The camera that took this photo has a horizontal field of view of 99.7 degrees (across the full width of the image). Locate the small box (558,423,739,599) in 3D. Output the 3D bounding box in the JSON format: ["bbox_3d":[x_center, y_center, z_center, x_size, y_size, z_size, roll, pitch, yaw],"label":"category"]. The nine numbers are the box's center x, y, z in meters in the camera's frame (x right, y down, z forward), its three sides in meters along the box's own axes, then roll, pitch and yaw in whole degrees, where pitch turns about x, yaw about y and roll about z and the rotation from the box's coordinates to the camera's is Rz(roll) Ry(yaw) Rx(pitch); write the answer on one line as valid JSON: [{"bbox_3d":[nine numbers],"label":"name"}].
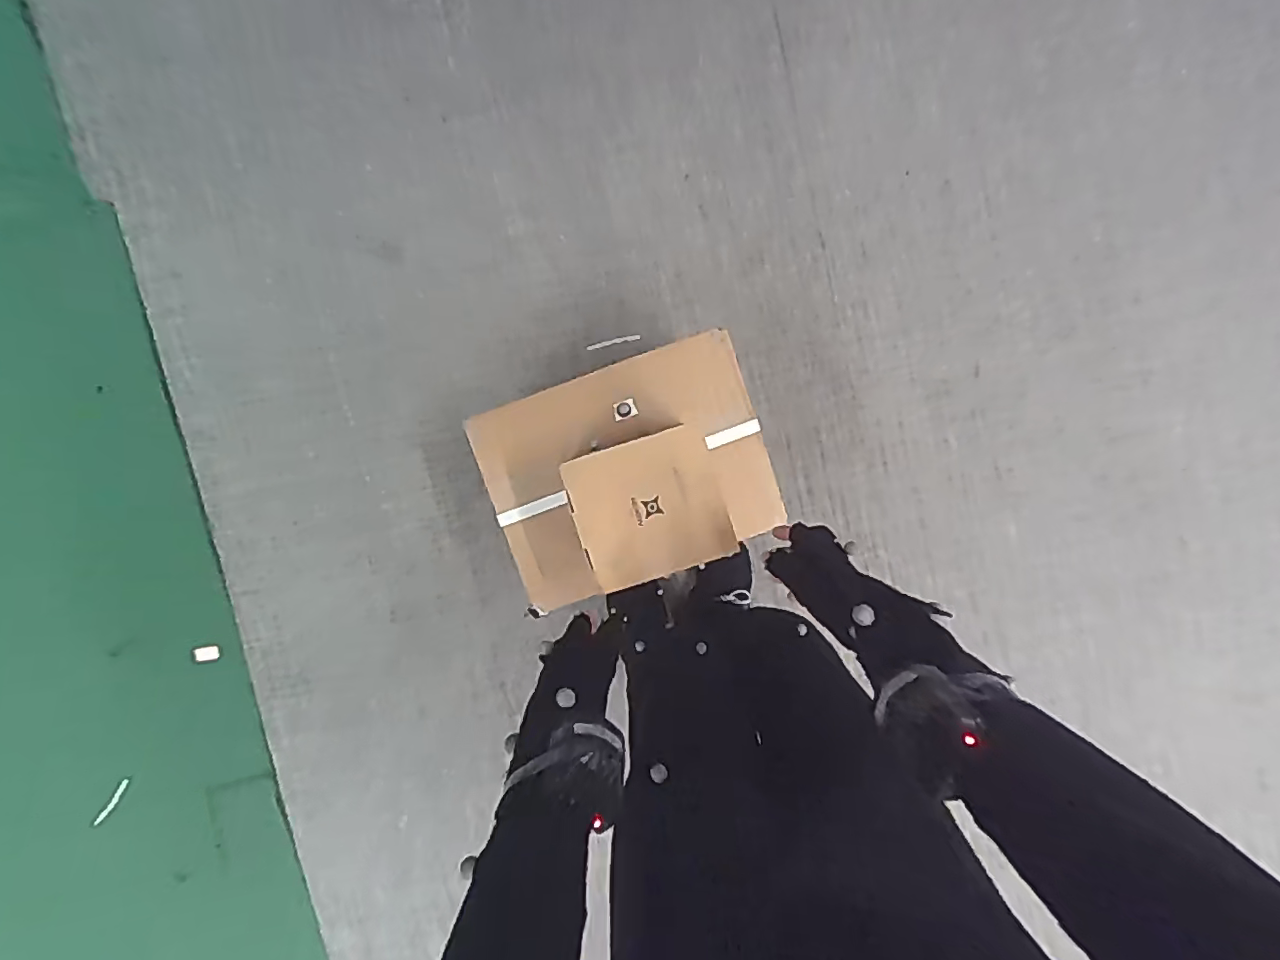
[{"bbox_3d":[0.009,0.032,0.705,0.179,0.176,0.168,-19,95,-1],"label":"small box"}]
